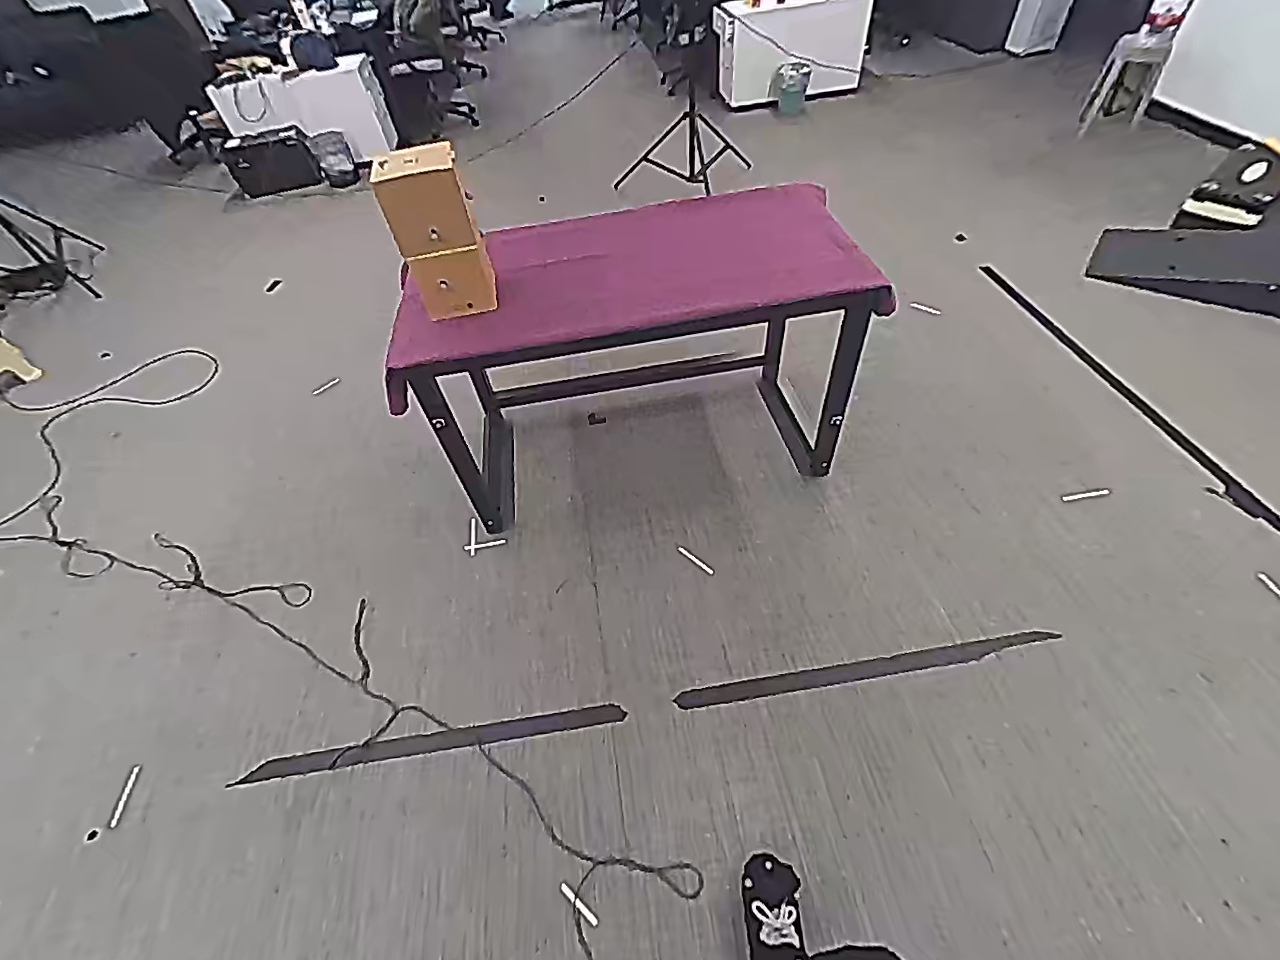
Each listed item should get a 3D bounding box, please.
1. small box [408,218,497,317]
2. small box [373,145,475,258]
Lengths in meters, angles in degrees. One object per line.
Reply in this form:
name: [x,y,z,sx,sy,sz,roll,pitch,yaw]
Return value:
small box: [-0.463,-0.526,1.359,0.168,0.176,0.179,-13,50,-4]
small box: [-0.484,-0.635,1.238,0.179,0.176,0.168,-13,50,-6]
